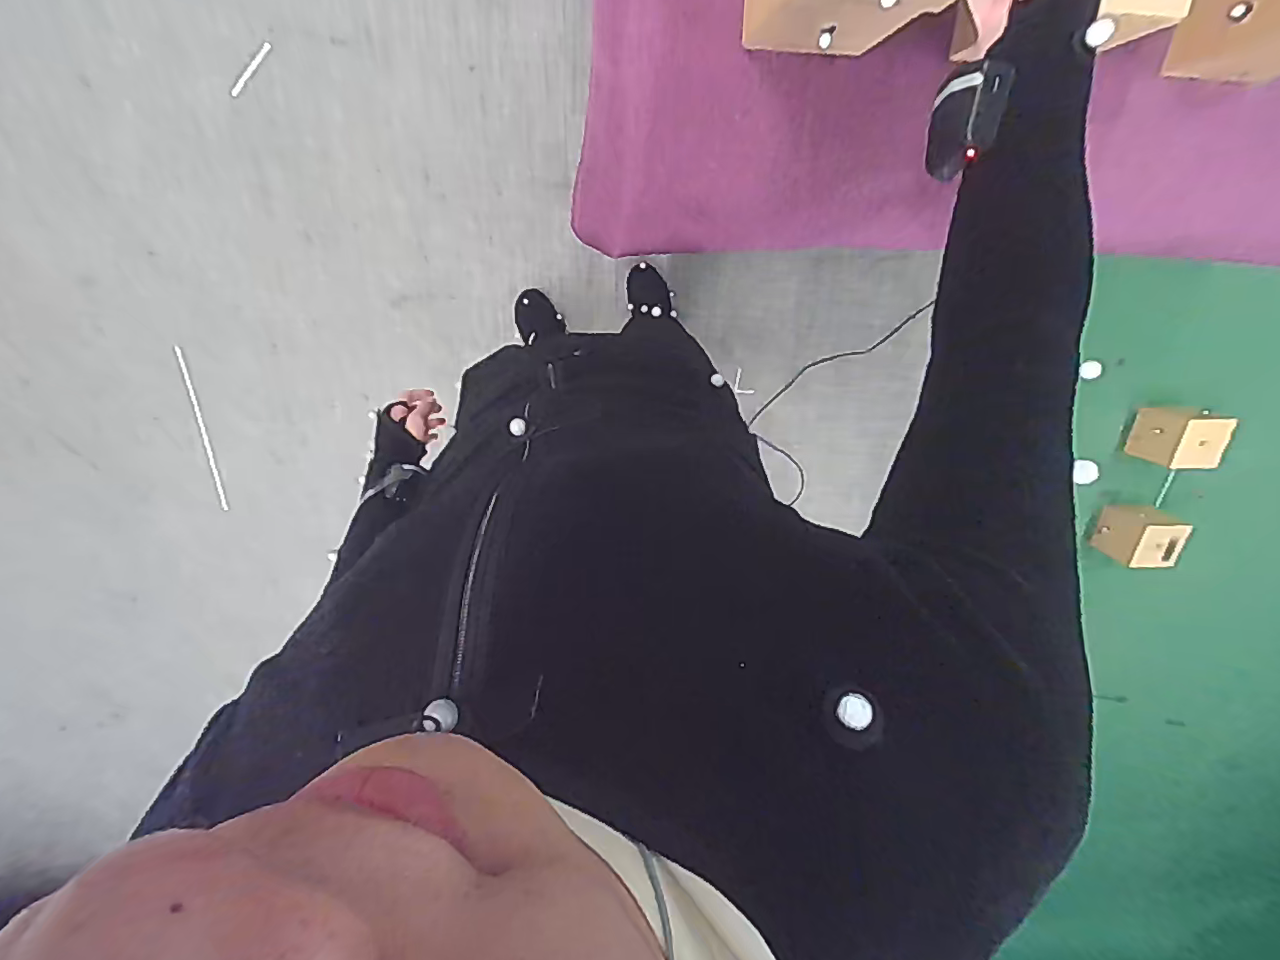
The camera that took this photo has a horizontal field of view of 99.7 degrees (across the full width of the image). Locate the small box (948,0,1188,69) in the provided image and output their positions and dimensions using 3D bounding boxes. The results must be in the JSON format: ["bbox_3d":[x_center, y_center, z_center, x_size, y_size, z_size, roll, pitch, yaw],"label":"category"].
[{"bbox_3d":[0.508,-0.608,0.634,0.179,0.176,0.168,-2,112,-5],"label":"small box"}]

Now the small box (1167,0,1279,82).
[{"bbox_3d":[0.826,-0.620,0.669,0.168,0.176,0.179,-2,112,-7],"label":"small box"}]

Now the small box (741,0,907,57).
[{"bbox_3d":[0.218,-0.601,0.601,0.168,0.176,0.179,-3,113,-7],"label":"small box"}]

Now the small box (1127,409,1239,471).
[{"bbox_3d":[1.774,-0.134,1.778,0.179,0.176,0.168,-2,112,-7],"label":"small box"}]

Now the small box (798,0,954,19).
[{"bbox_3d":[0.238,-0.532,0.453,0.168,0.176,0.179,-2,113,-5],"label":"small box"}]
